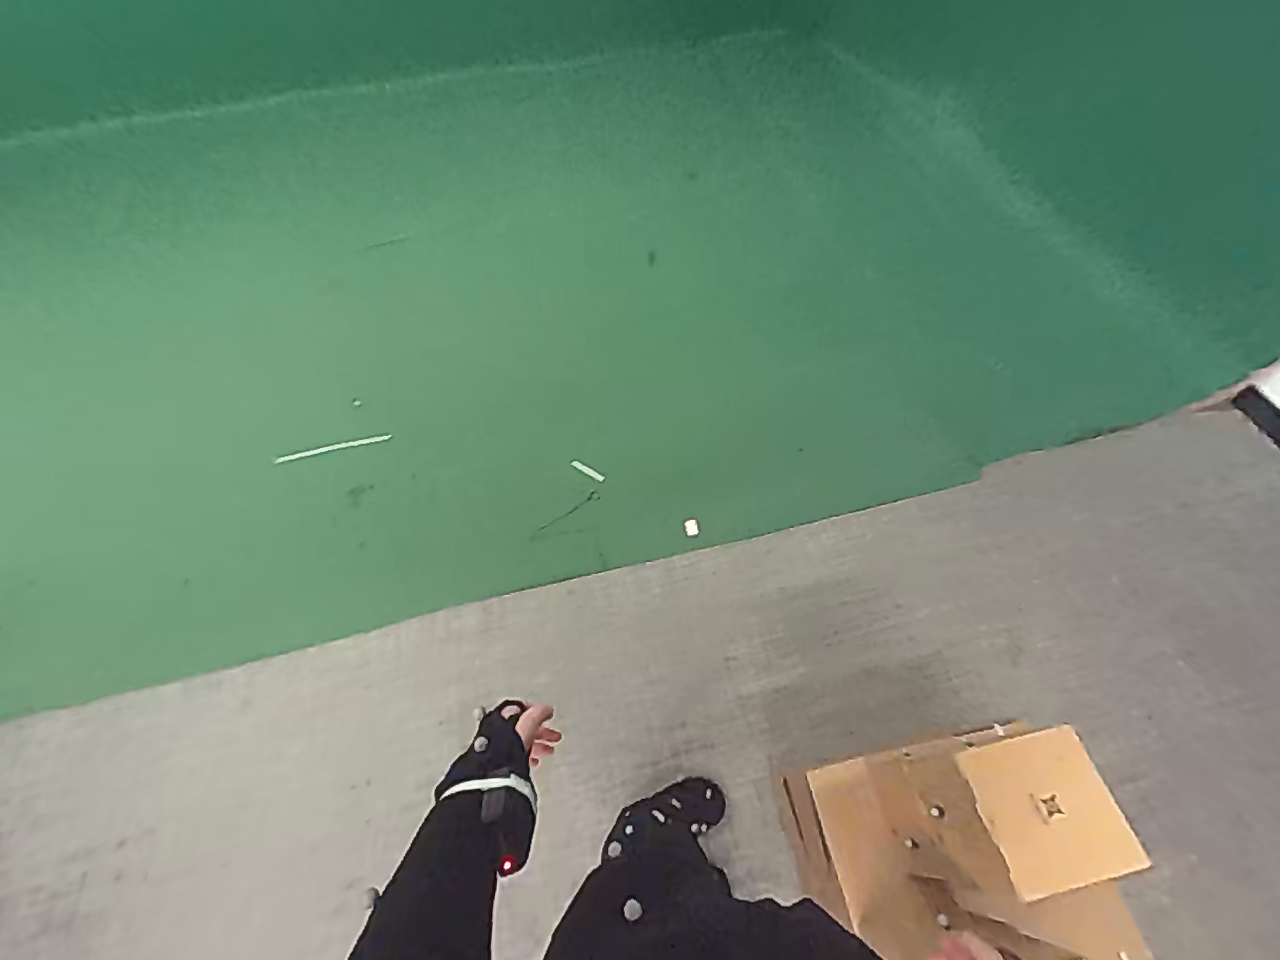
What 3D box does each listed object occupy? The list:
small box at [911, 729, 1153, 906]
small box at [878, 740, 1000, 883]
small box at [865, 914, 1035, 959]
[{"bbox_3d":[0.520,0.458,0.750,0.179,0.176,0.168,-11,59,-5],"label":"small box"},{"bbox_3d":[0.519,0.542,0.889,0.179,0.176,0.168,-9,58,-6],"label":"small box"},{"bbox_3d":[0.453,0.741,0.764,0.179,0.176,0.168,-8,59,-5],"label":"small box"}]
